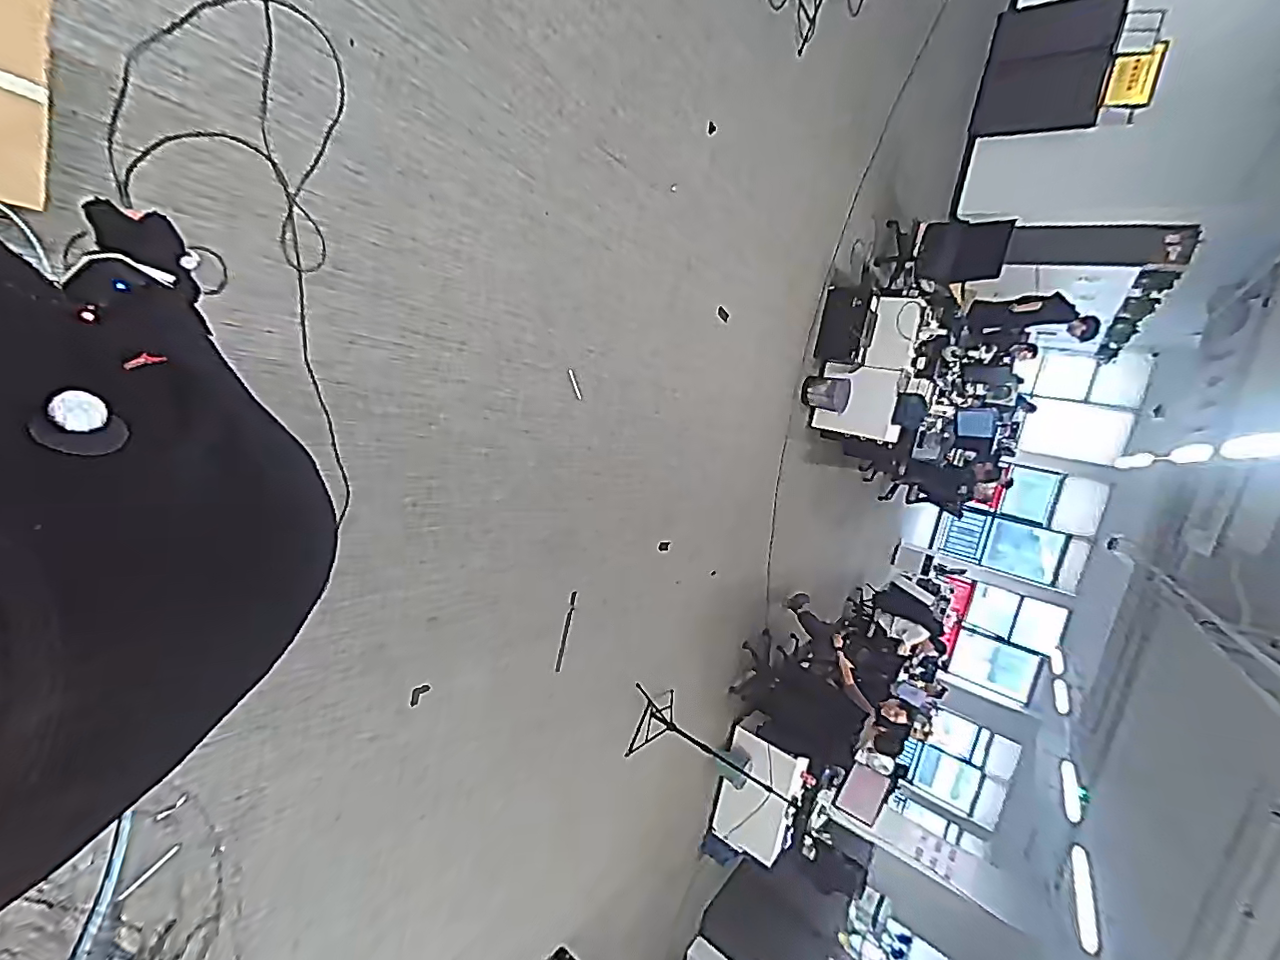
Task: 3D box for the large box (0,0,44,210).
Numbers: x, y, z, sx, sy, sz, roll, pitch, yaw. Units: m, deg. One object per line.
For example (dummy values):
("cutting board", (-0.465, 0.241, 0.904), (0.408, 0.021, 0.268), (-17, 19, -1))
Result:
("large box", (-1.075, -0.577, 0.679), (0.408, 0.320, 0.320), (-1, 105, -55))
